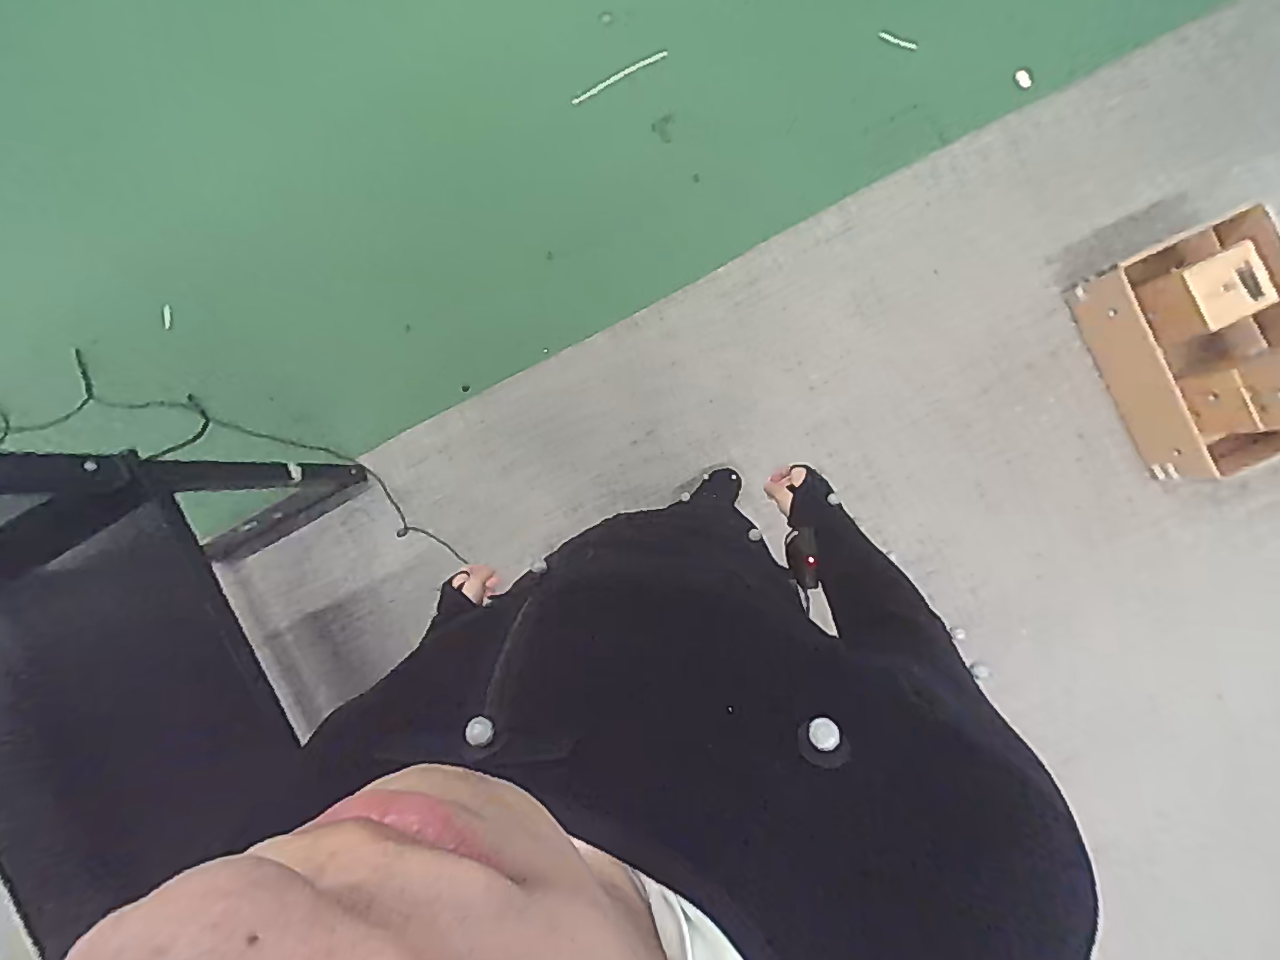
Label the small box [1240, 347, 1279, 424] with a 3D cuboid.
[{"bbox_3d":[1.559,-0.238,1.243,0.179,0.176,0.168,-24,89,4],"label":"small box"}]

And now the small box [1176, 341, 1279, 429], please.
[{"bbox_3d":[1.567,-0.241,1.408,0.179,0.176,0.168,-24,89,4],"label":"small box"}]
